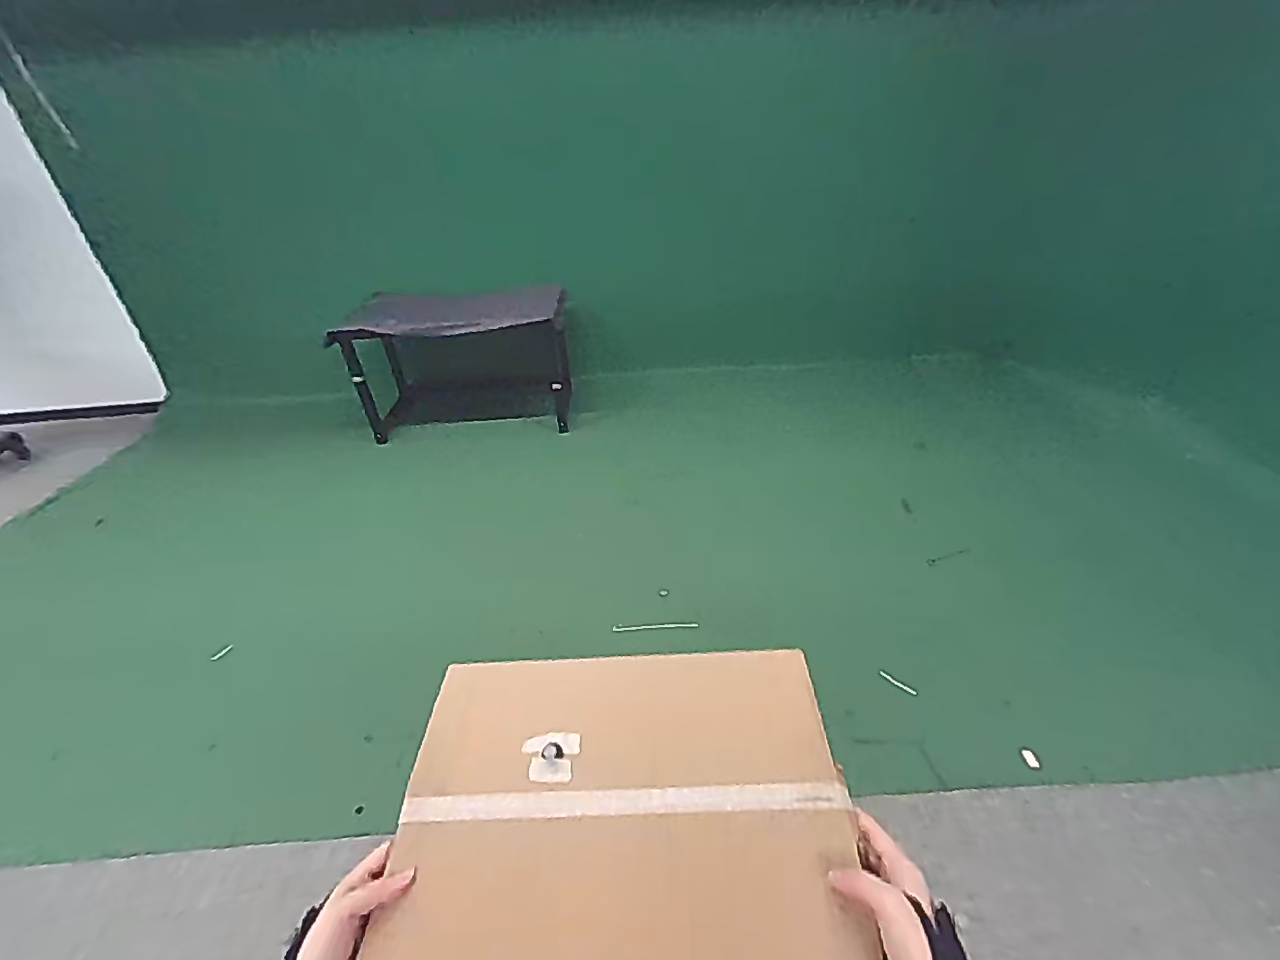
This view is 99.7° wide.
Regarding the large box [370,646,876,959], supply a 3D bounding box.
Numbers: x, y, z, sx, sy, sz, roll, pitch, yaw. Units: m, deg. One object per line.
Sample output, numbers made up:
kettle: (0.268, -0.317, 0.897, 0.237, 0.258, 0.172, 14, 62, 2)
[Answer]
large box: (-0.003, 0.416, 0.599, 0.408, 0.320, 0.320, -5, 38, 4)
